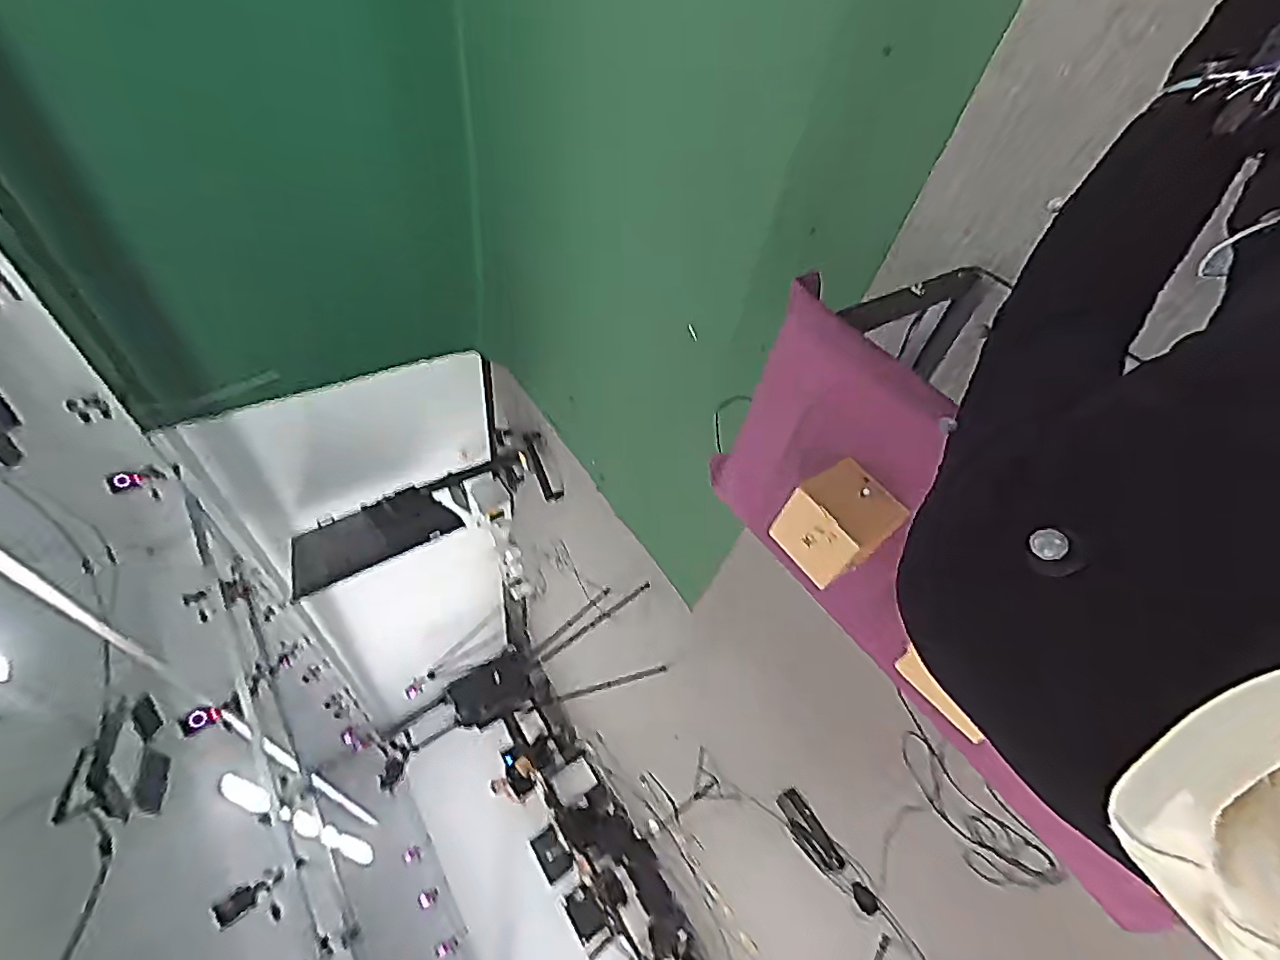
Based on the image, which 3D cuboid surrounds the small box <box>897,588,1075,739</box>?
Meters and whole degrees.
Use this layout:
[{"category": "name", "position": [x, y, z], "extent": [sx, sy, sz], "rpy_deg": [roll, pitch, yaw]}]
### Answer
[{"category": "small box", "position": [0.616, 0.318, 0.973], "extent": [0.179, 0.176, 0.168], "rpy_deg": [47, 147, 31]}]

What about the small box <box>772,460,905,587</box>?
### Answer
[{"category": "small box", "position": [0.416, 0.089, 1.137], "extent": [0.168, 0.176, 0.179], "rpy_deg": [50, 148, 25]}]
